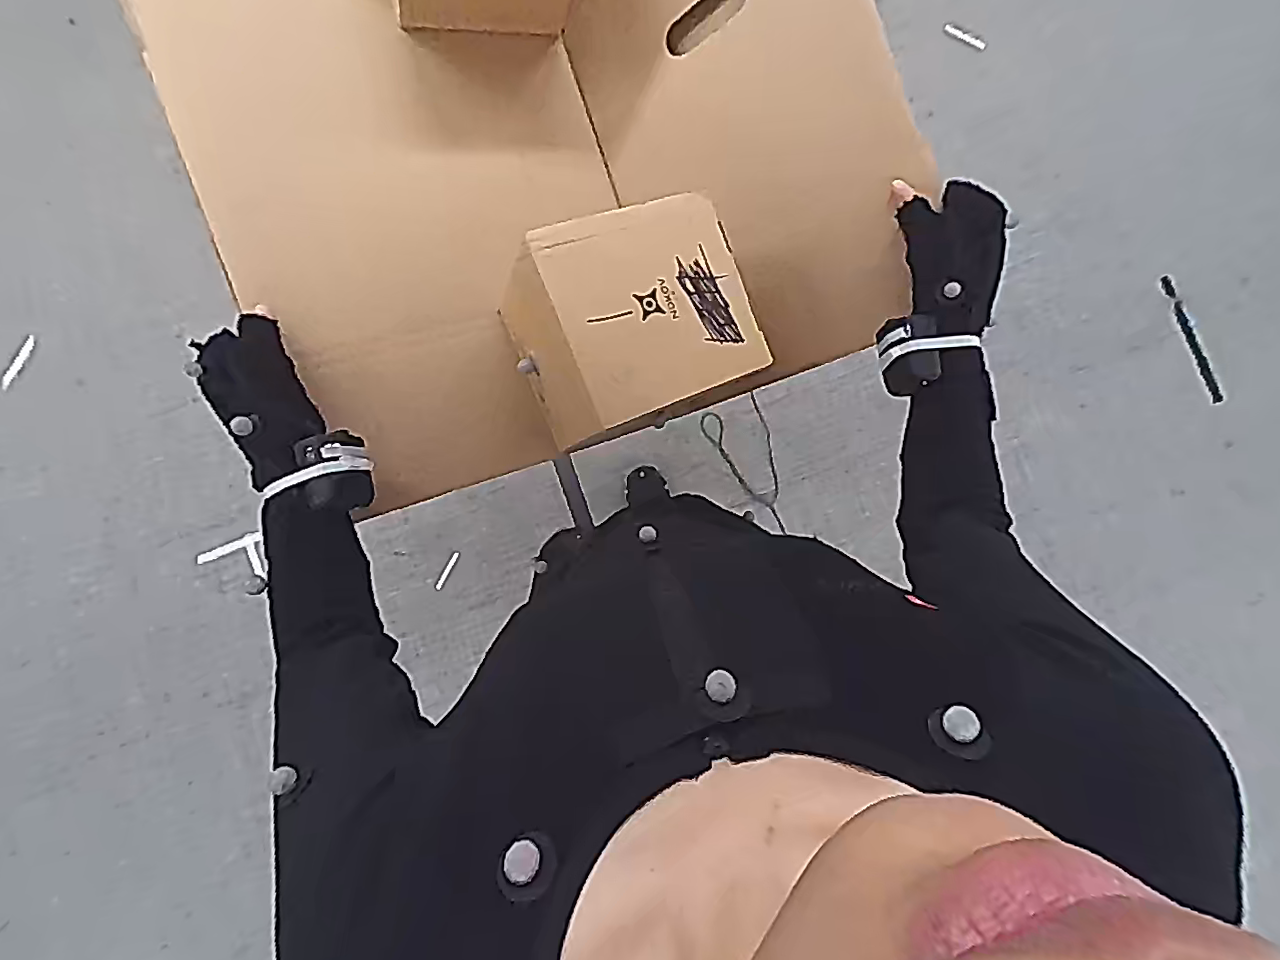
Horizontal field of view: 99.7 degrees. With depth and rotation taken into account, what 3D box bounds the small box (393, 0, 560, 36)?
[{"bbox_3d":[-0.163,-0.565,0.507,0.179,0.176,0.168,-15,91,-21],"label":"small box"}]
